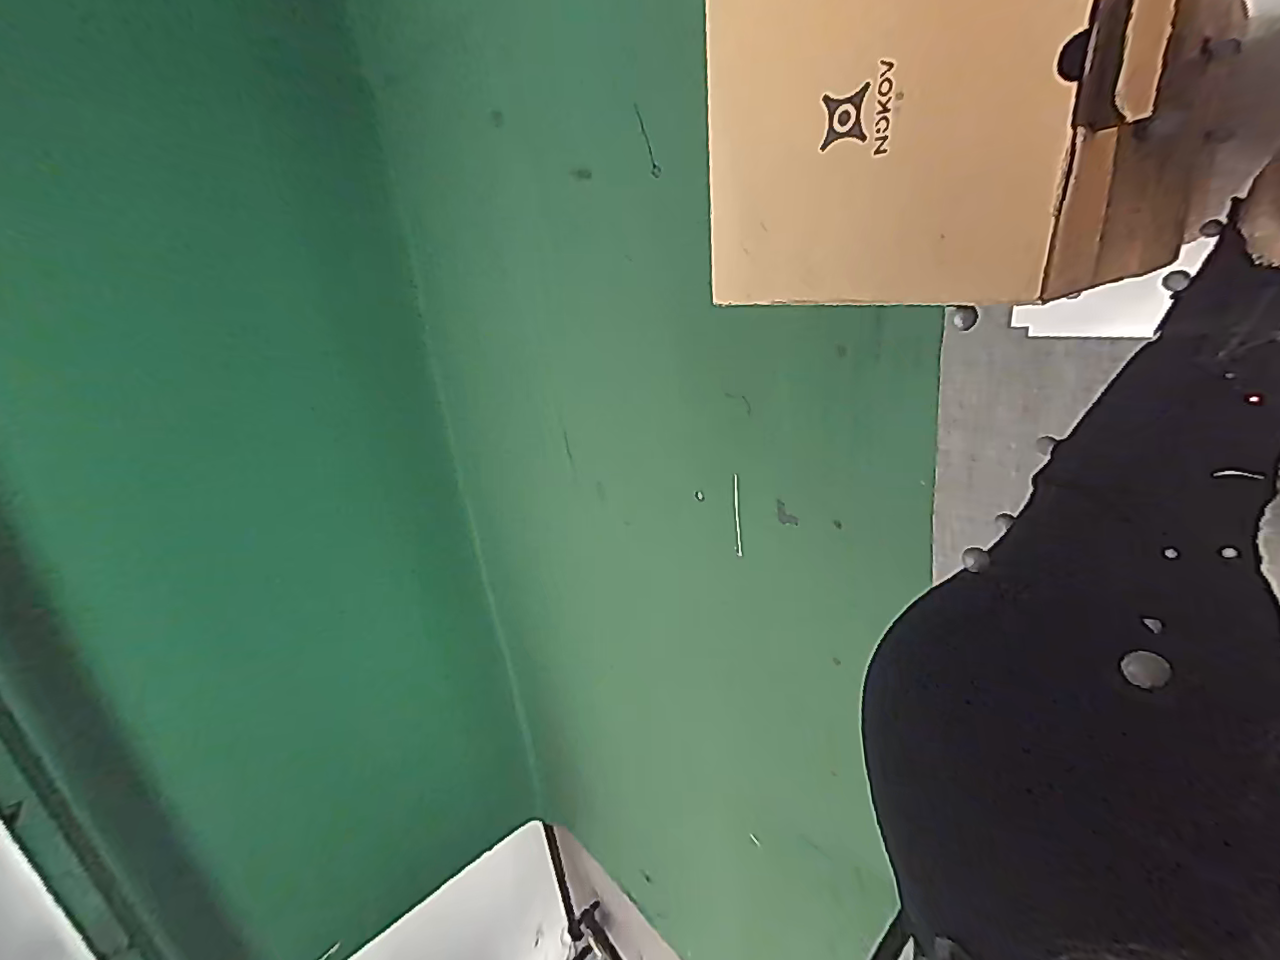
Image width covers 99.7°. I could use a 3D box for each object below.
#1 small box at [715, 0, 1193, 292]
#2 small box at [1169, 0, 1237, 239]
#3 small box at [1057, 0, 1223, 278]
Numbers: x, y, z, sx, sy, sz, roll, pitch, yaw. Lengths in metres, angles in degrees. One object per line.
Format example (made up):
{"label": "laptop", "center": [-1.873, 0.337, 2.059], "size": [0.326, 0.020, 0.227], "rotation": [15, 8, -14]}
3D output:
{"label": "small box", "center": [0.161, -0.195, 0.299], "size": [0.179, 0.176, 0.168], "rotation": [18, 120, 45]}
{"label": "small box", "center": [0.401, -0.302, 0.490], "size": [0.168, 0.176, 0.179], "rotation": [15, 119, 44]}
{"label": "small box", "center": [0.284, -0.238, 0.398], "size": [0.179, 0.176, 0.168], "rotation": [16, 118, 47]}
